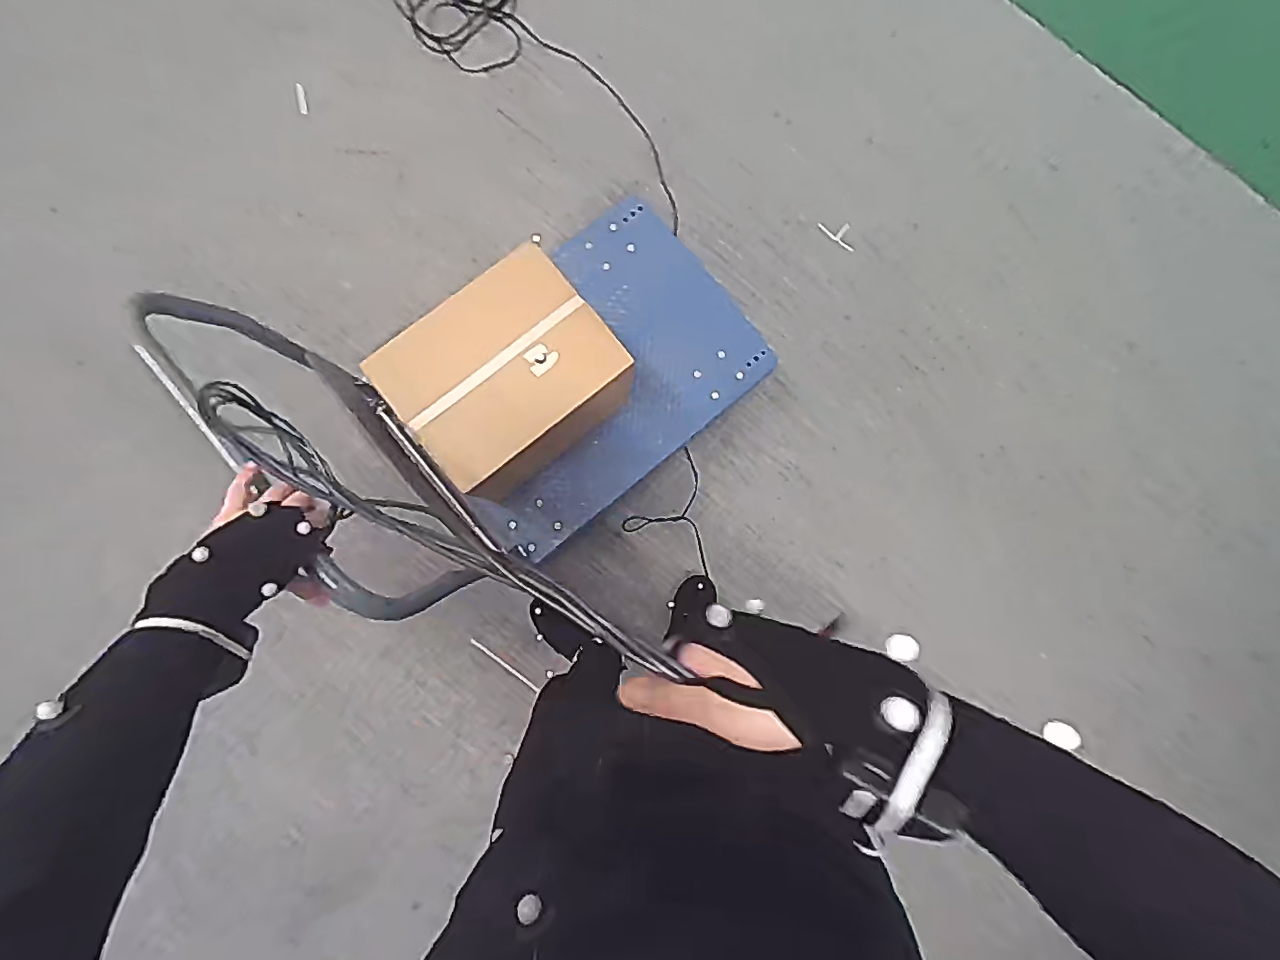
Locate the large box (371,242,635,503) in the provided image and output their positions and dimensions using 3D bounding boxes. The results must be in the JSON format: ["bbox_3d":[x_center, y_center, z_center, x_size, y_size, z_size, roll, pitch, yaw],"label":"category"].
[{"bbox_3d":[-0.262,-0.201,1.157,0.408,0.320,0.320,-39,88,-7],"label":"large box"}]
